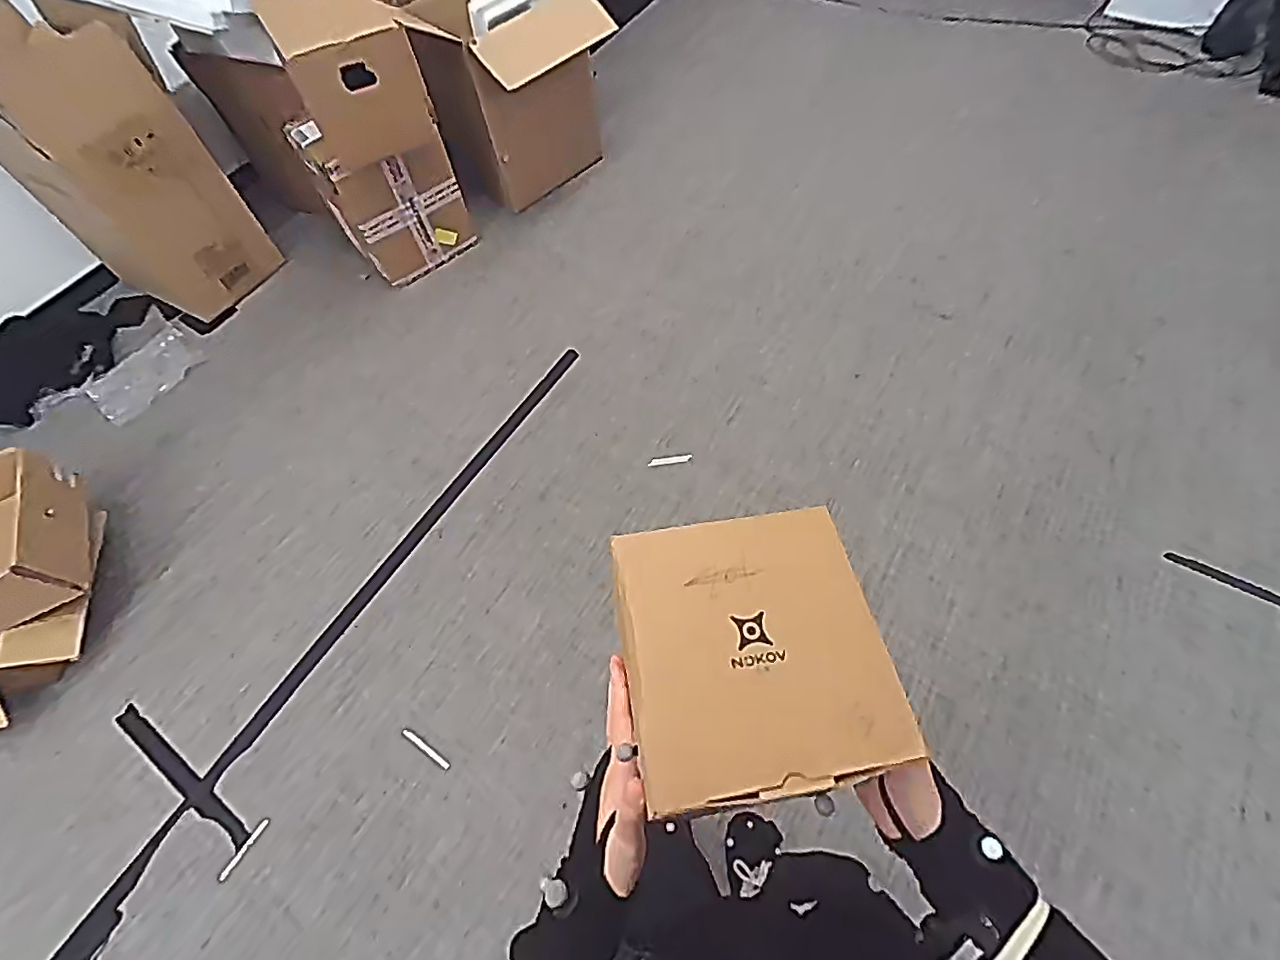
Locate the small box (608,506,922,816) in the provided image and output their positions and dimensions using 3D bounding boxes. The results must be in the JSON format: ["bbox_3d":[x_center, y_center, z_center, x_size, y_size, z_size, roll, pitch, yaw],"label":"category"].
[{"bbox_3d":[0.070,0.145,0.415,0.168,0.176,0.179,-7,56,-7],"label":"small box"}]
